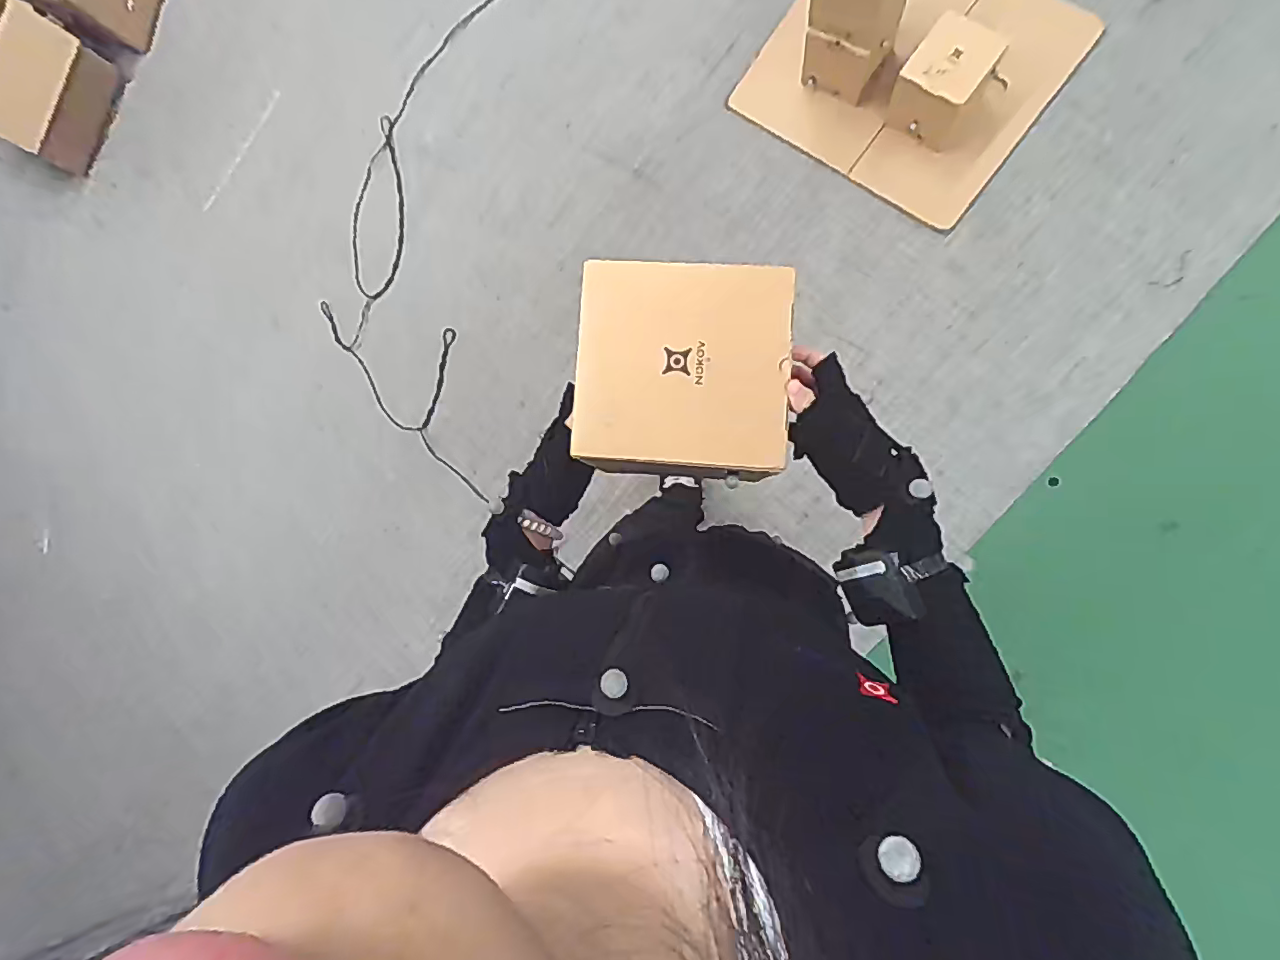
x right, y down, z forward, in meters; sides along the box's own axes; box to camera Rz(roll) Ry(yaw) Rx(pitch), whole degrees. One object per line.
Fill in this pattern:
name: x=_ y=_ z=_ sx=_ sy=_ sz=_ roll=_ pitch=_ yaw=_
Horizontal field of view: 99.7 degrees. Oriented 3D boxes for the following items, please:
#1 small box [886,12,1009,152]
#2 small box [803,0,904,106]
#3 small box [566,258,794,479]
small box: x=0.722 y=-0.943 z=1.296 sx=0.168 sy=0.176 sz=0.179 roll=38 pitch=96 yaw=12
small box: x=0.520 y=-1.085 z=1.341 sx=0.168 sy=0.176 sz=0.179 roll=33 pitch=95 yaw=11
small box: x=0.037 y=-0.091 z=0.516 sx=0.179 sy=0.176 sz=0.168 roll=4 pitch=87 yaw=3
